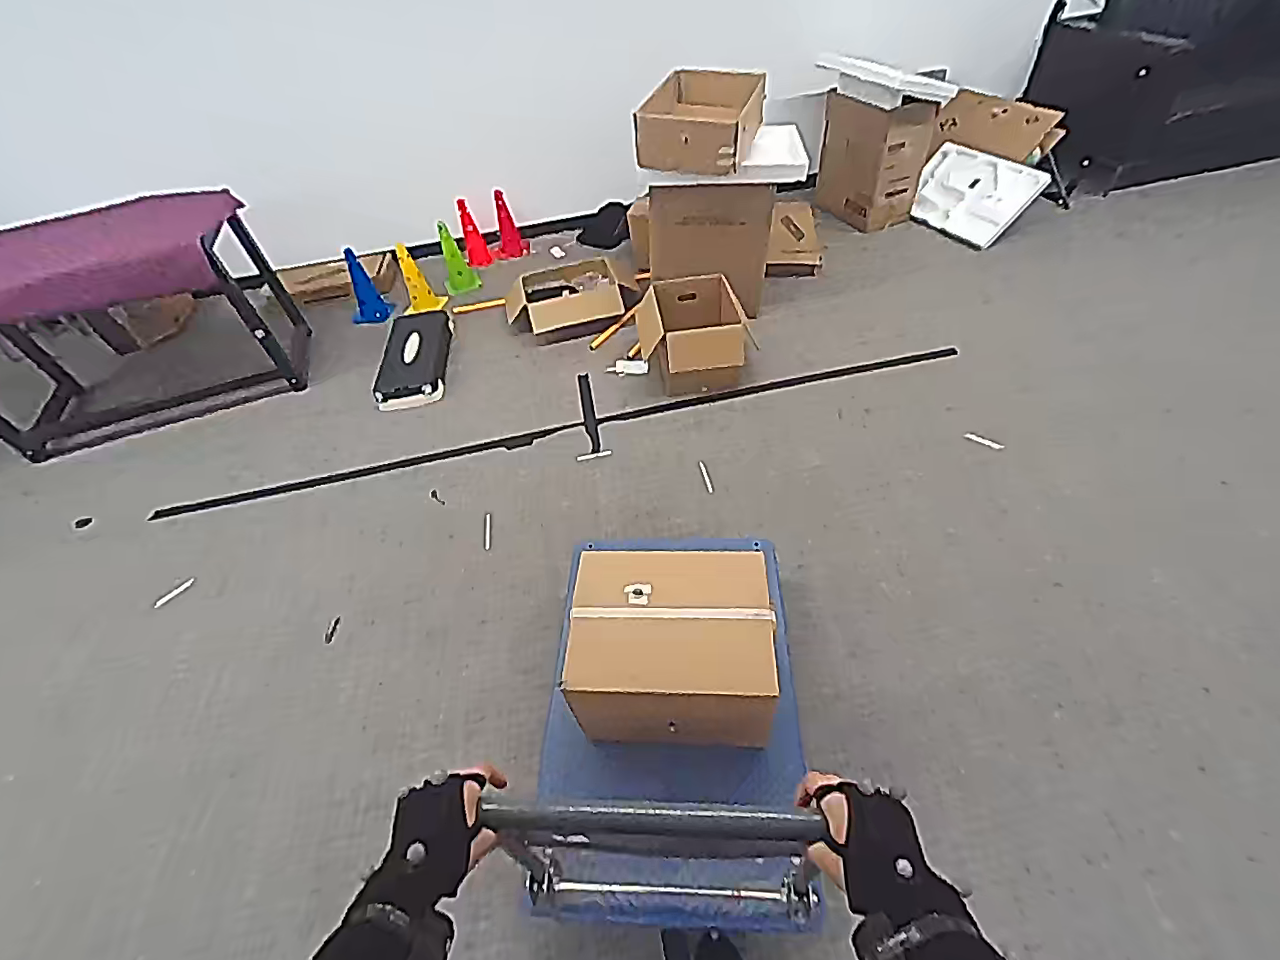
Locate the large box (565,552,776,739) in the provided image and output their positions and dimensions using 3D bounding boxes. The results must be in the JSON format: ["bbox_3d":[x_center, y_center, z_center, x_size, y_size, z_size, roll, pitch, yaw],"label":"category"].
[{"bbox_3d":[0.077,0.379,1.218,0.408,0.320,0.320,-2,47,7],"label":"large box"}]
